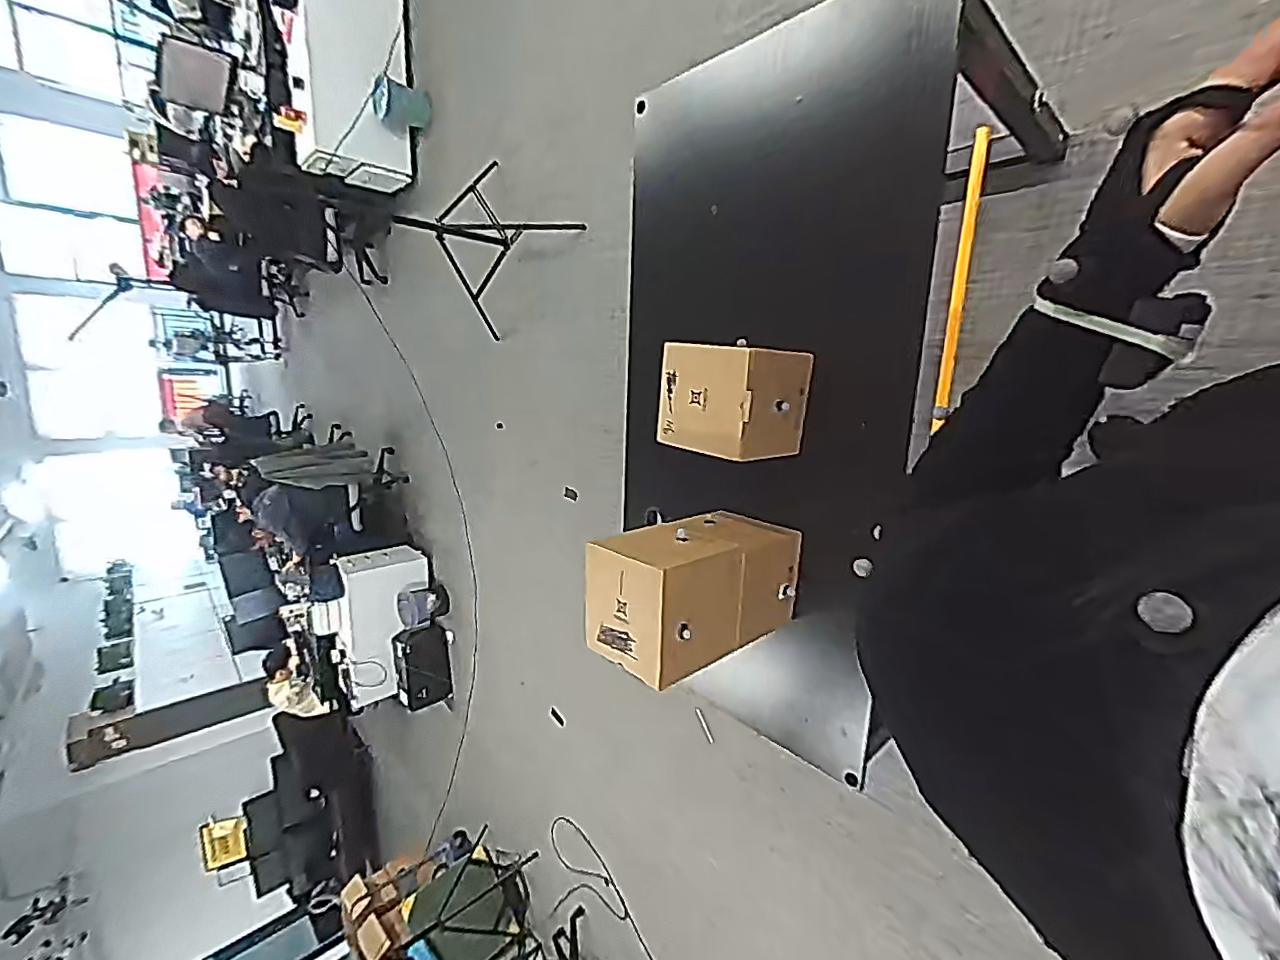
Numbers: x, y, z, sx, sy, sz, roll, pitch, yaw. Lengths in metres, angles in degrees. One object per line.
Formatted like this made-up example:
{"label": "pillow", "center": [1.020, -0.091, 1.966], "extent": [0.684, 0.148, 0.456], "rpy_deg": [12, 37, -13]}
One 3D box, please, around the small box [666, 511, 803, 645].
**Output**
{"label": "small box", "center": [0.155, 0.156, 0.935], "extent": [0.179, 0.176, 0.168], "rpy_deg": [14, 107, 45]}

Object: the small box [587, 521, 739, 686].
{"label": "small box", "center": [0.035, 0.174, 0.824], "extent": [0.168, 0.176, 0.179], "rpy_deg": [13, 106, 46]}

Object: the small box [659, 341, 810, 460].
{"label": "small box", "center": [0.155, -0.137, 0.886], "extent": [0.179, 0.176, 0.168], "rpy_deg": [19, 110, 44]}
